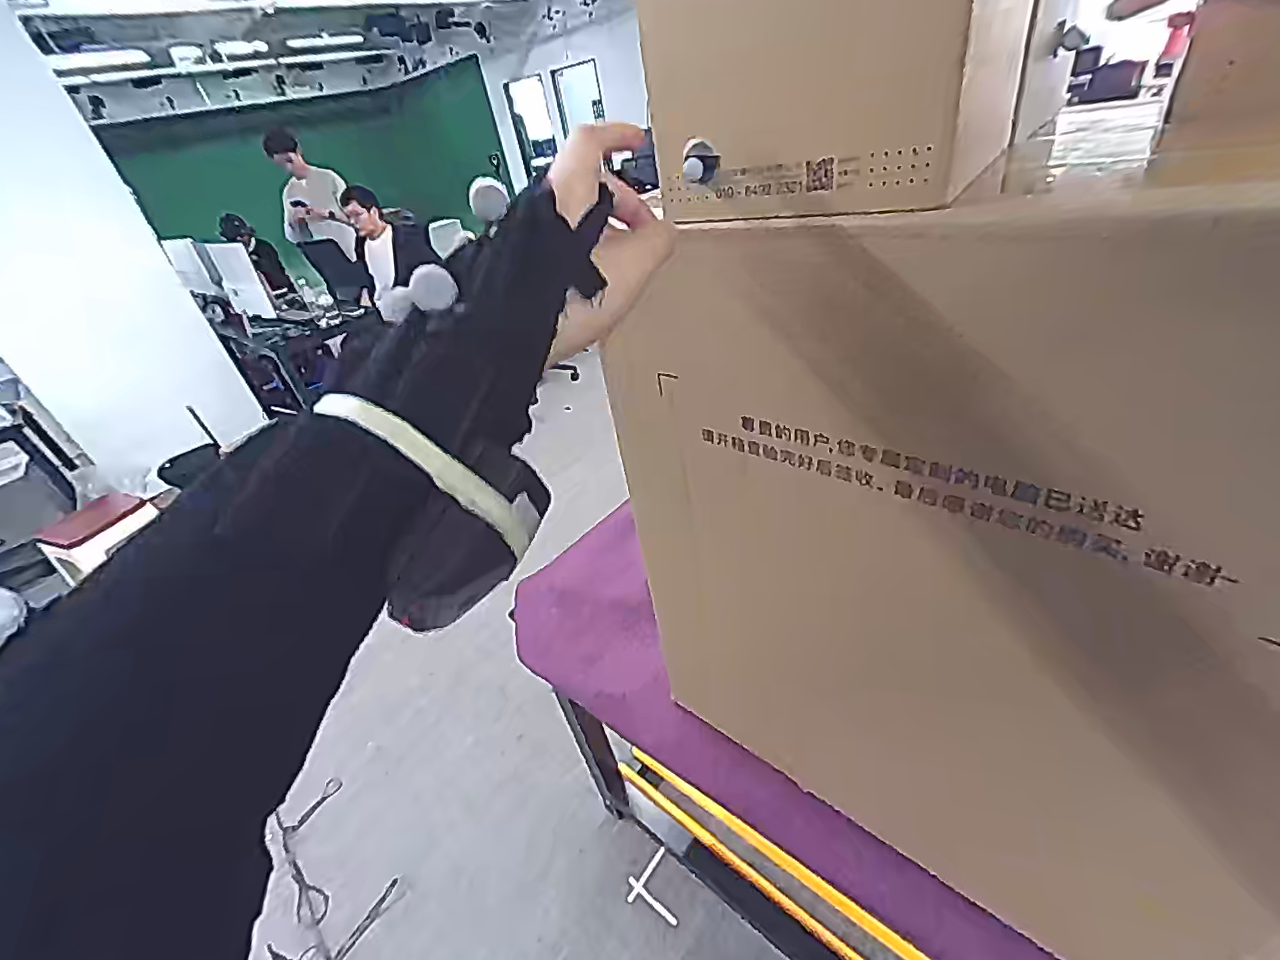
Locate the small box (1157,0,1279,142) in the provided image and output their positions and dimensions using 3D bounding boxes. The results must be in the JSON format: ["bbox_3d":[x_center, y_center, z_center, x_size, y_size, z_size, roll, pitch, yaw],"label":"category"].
[{"bbox_3d":[0.420,-0.300,0.286,0.179,0.176,0.168,14,42,36],"label":"small box"}]
